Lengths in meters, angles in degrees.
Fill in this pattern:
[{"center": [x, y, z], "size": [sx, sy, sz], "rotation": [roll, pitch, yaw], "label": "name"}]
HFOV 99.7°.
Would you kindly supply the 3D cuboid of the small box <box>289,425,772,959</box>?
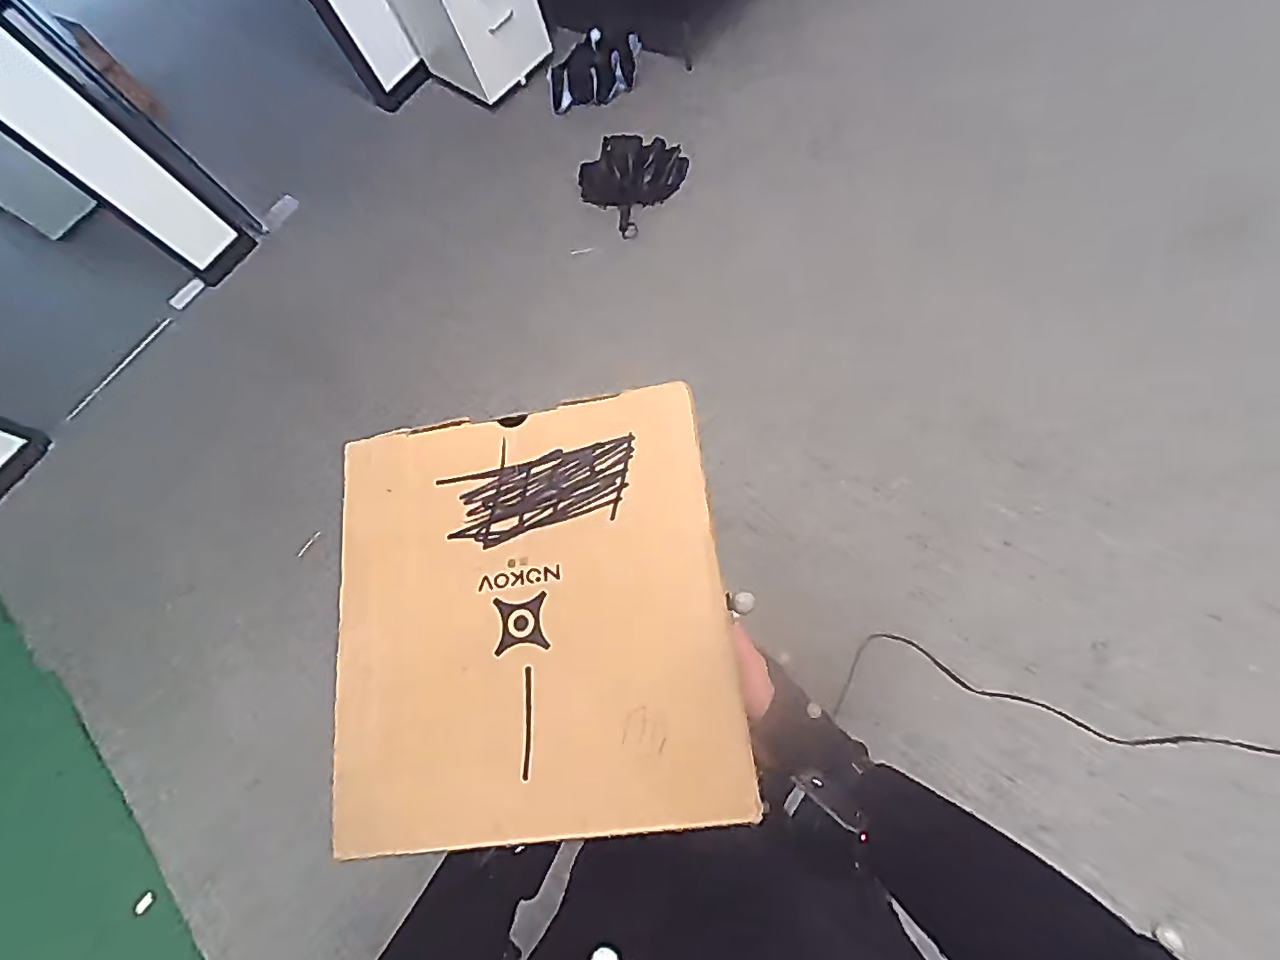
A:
[{"center": [-0.036, 0.093, 0.275], "size": [0.168, 0.176, 0.179], "rotation": [-9, 74, 7], "label": "small box"}]
